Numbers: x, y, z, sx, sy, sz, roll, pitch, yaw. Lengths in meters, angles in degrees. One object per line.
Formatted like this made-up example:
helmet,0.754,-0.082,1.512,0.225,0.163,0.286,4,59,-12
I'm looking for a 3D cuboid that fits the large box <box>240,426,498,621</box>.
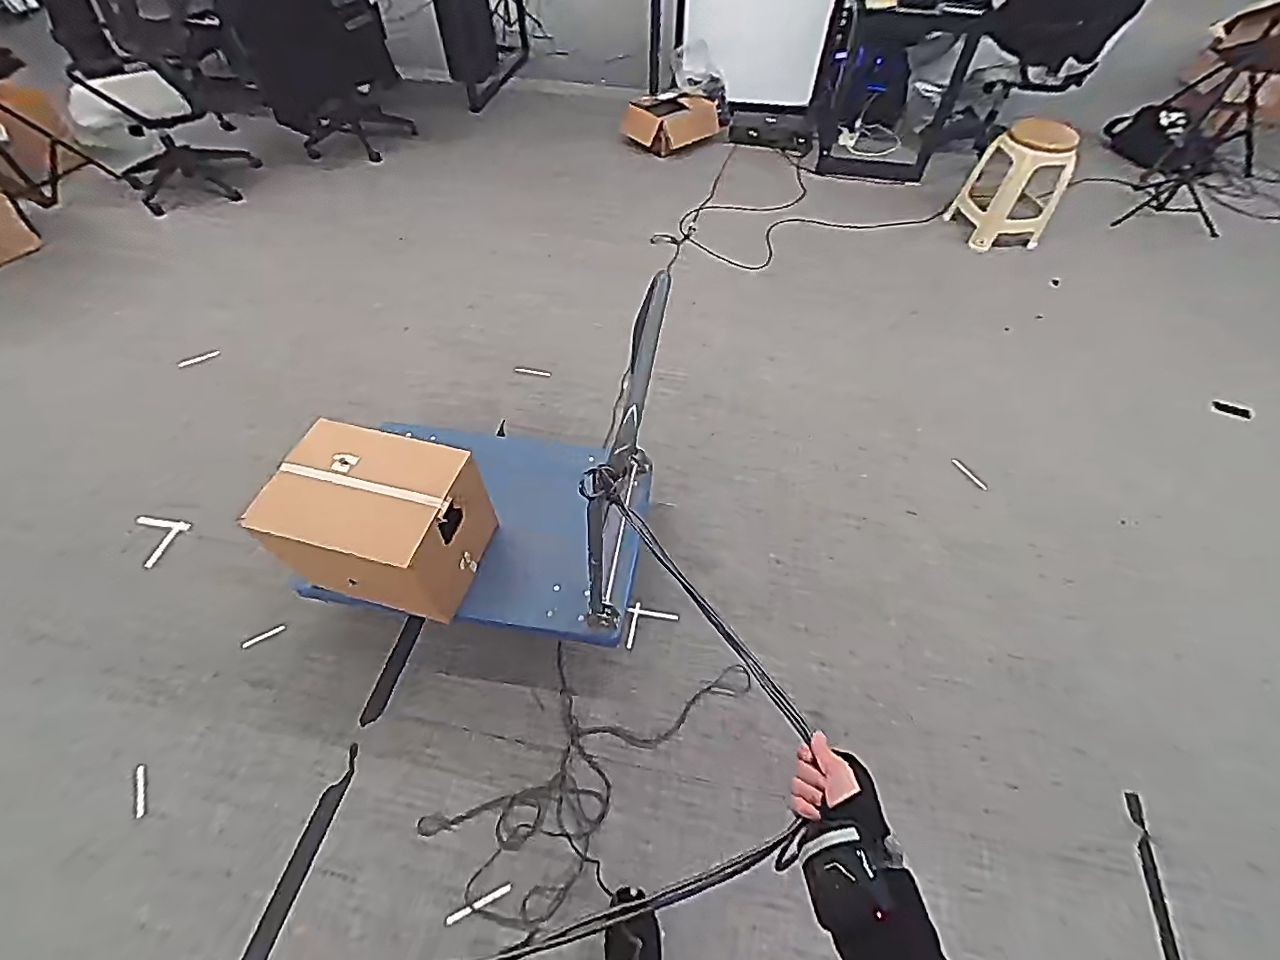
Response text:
large box,-0.615,0.110,1.316,0.408,0.320,0.320,12,55,9
